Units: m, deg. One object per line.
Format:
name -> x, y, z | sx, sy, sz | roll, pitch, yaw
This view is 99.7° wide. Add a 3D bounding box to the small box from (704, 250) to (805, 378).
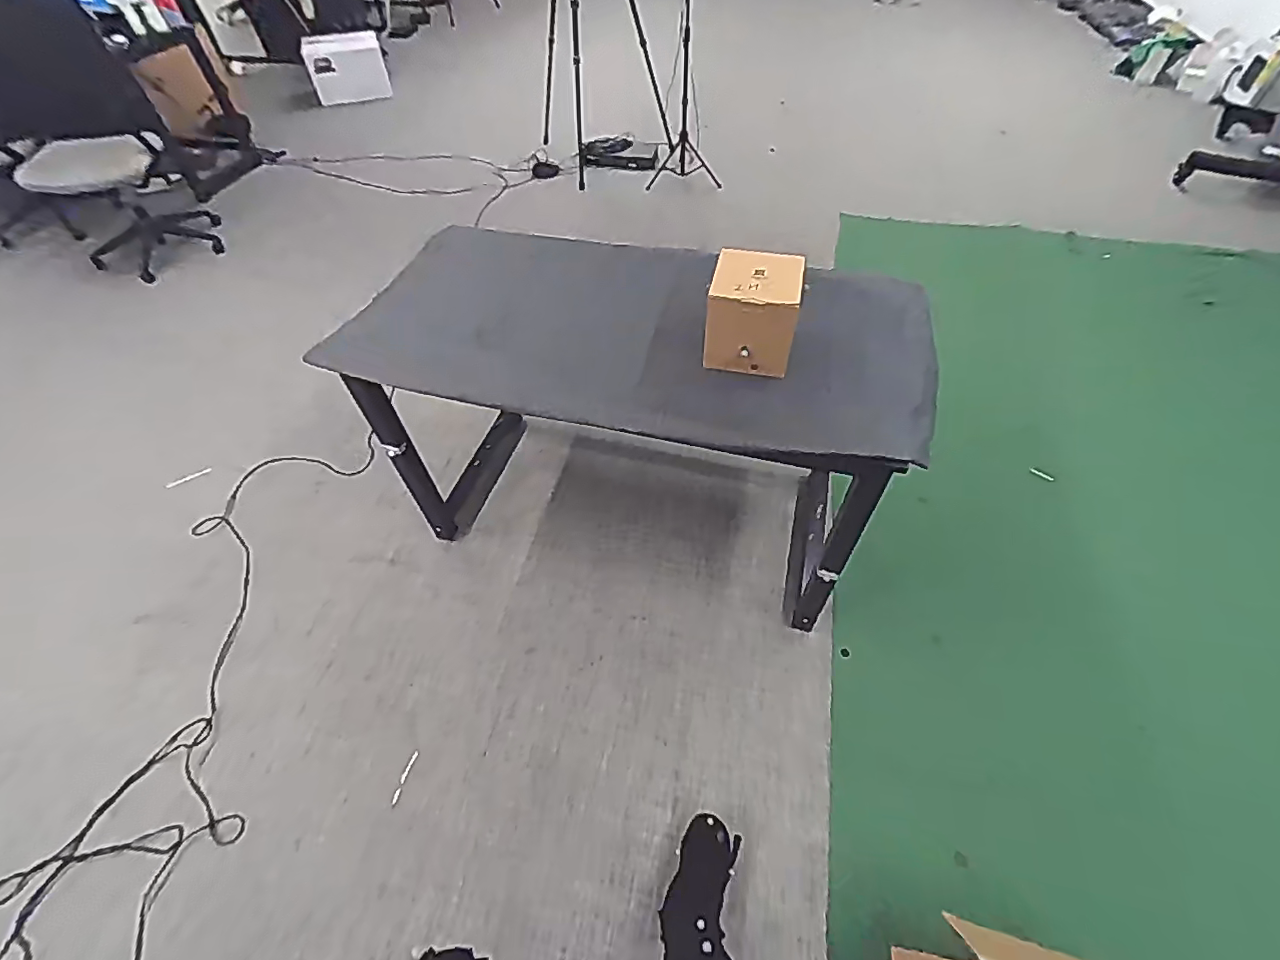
small box -> 0.225, -0.333, 1.085 | 0.168, 0.176, 0.179 | 10, 52, 10
